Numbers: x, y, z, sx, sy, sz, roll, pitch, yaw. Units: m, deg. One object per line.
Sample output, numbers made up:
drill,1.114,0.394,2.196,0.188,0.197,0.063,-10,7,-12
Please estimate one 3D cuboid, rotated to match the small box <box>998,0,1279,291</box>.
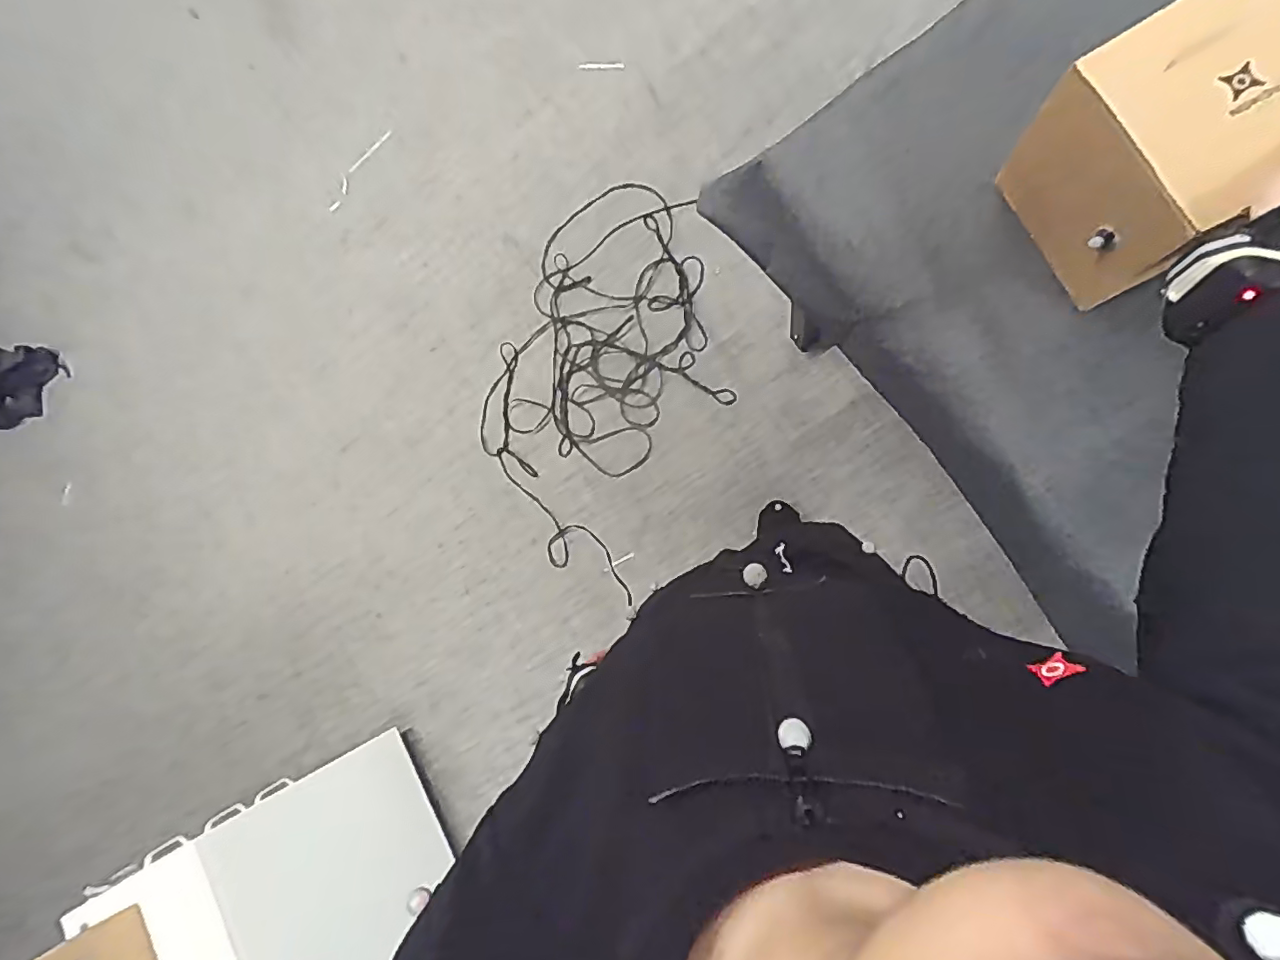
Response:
small box,0.476,-0.298,0.490,0.168,0.176,0.179,-29,80,10
